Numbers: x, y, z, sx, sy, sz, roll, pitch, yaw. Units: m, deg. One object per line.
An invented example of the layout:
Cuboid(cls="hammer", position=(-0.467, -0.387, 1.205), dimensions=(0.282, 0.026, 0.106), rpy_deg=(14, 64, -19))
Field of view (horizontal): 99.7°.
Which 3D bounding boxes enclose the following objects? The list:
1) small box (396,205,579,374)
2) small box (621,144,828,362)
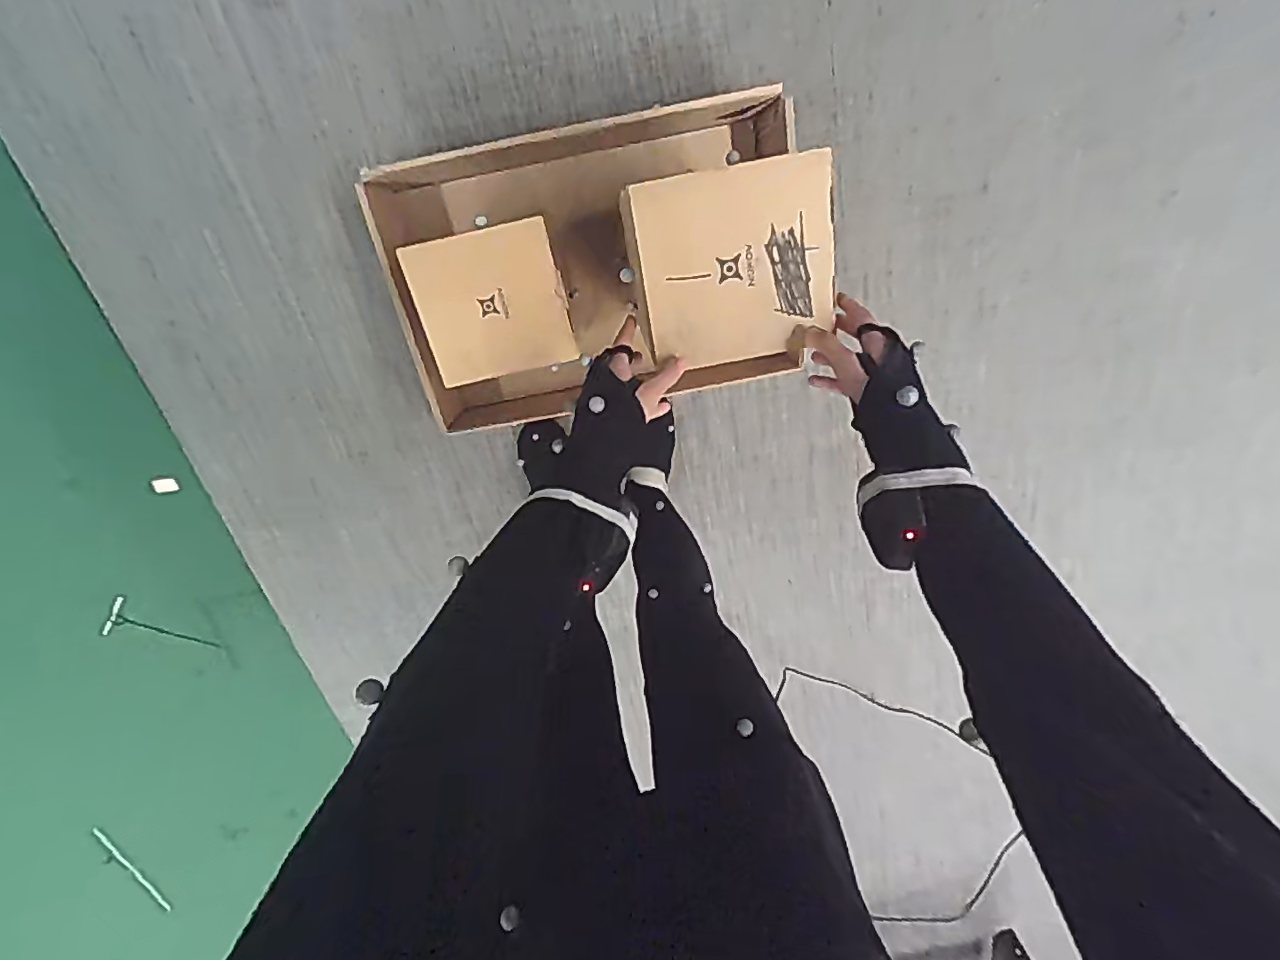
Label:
Cuboid(cls="small box", position=(-0.185, -0.253, 0.719), dimensions=(0.179, 0.176, 0.168), rpy_deg=(-13, 114, 1))
Cuboid(cls="small box", position=(0.079, -0.234, 0.561), dimensions=(0.179, 0.176, 0.168), rpy_deg=(-9, 115, 1))
